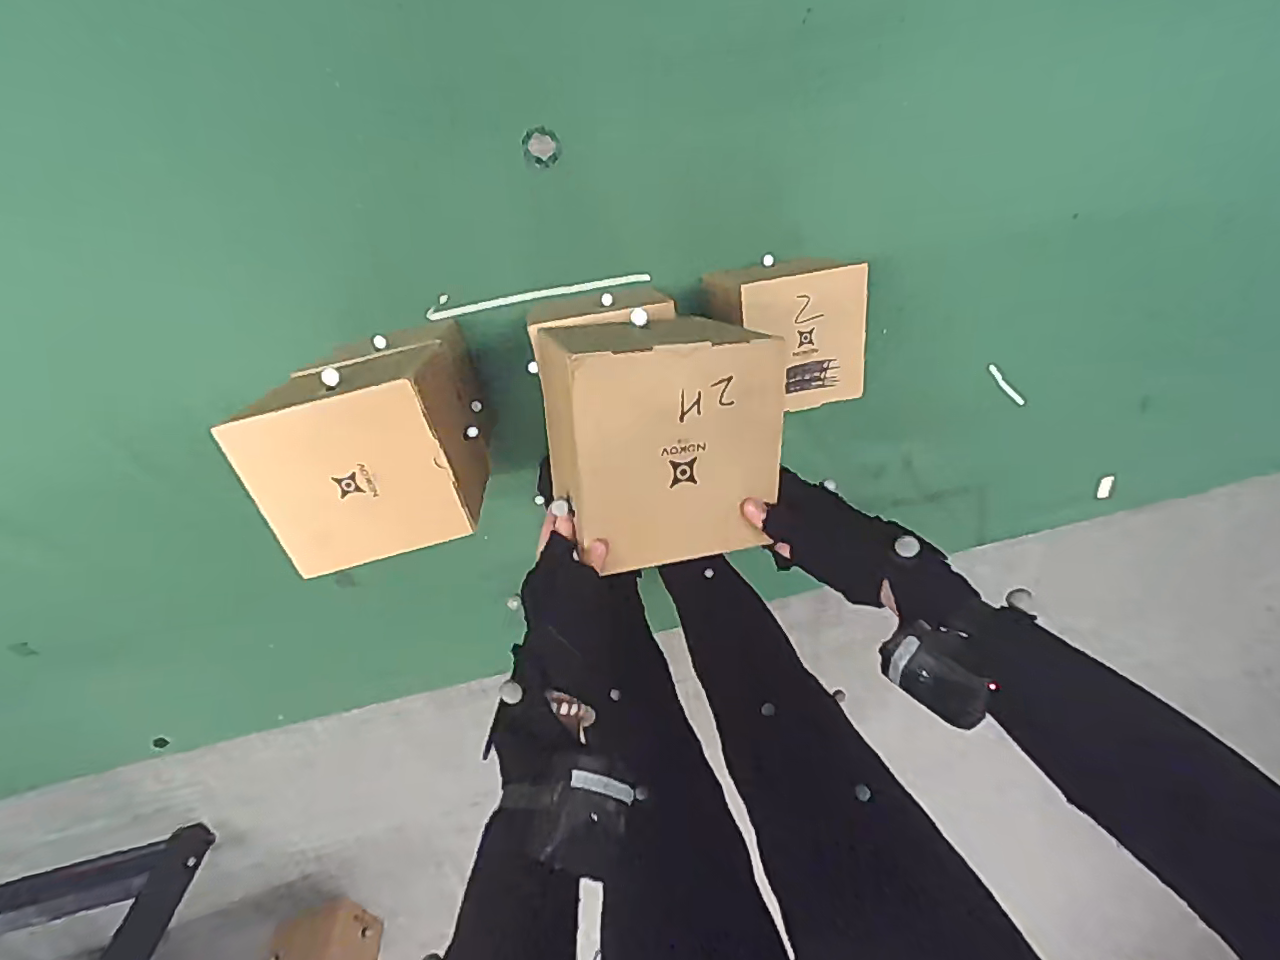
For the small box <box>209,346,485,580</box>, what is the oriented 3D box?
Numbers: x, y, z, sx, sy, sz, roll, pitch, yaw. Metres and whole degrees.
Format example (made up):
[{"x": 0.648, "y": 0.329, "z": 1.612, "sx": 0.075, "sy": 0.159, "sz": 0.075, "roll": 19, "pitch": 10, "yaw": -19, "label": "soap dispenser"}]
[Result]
[{"x": -0.277, "y": -0.028, "z": 0.563, "sx": 0.179, "sy": 0.176, "sz": 0.168, "roll": -16, "pitch": 117, "yaw": -3, "label": "small box"}]

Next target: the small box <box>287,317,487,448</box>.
[{"x": -0.308, "y": -0.097, "z": 0.708, "sx": 0.168, "sy": 0.176, "sz": 0.179, "roll": -14, "pitch": 118, "yaw": -4, "label": "small box"}]
